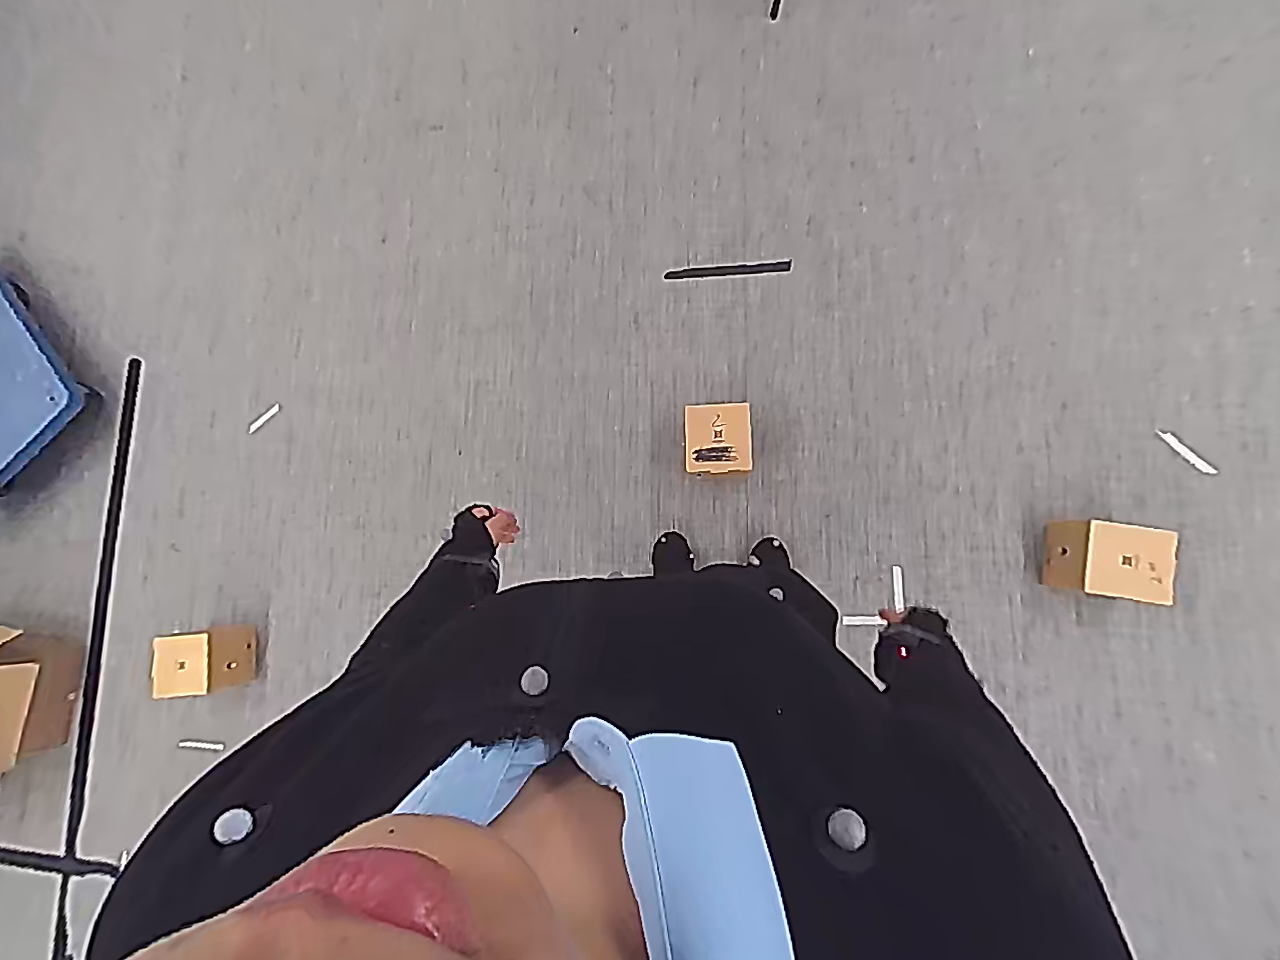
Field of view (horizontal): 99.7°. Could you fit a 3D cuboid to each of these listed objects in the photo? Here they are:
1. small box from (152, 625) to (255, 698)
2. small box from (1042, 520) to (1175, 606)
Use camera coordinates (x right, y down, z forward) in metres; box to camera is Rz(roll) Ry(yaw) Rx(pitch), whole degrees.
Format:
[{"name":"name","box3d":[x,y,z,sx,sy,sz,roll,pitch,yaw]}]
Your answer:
[{"name":"small box","box3d":[-1.262,0.522,1.573,0.179,0.176,0.168,-7,82,8]},{"name":"small box","box3d":[1.093,0.193,1.276,0.179,0.176,0.168,9,85,9]}]
